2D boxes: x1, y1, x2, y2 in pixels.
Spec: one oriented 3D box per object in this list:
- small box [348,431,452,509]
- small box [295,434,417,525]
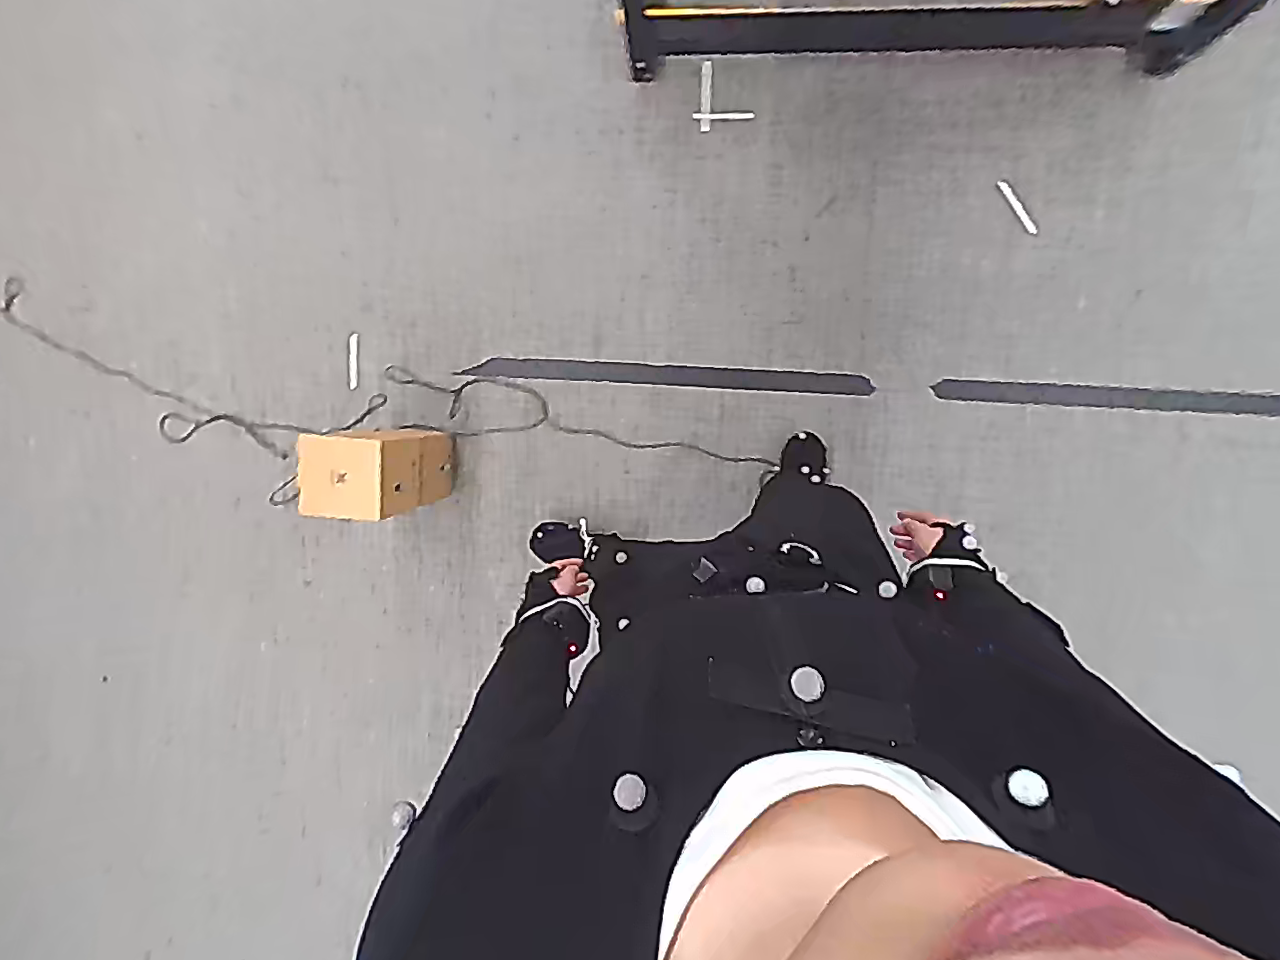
[{"bbox_3d":[-0.578,-0.031,1.309,0.179,0.176,0.168,4,98,4],"label":"small box"},{"bbox_3d":[-0.592,-0.008,1.148,0.179,0.176,0.168,4,98,5],"label":"small box"}]
